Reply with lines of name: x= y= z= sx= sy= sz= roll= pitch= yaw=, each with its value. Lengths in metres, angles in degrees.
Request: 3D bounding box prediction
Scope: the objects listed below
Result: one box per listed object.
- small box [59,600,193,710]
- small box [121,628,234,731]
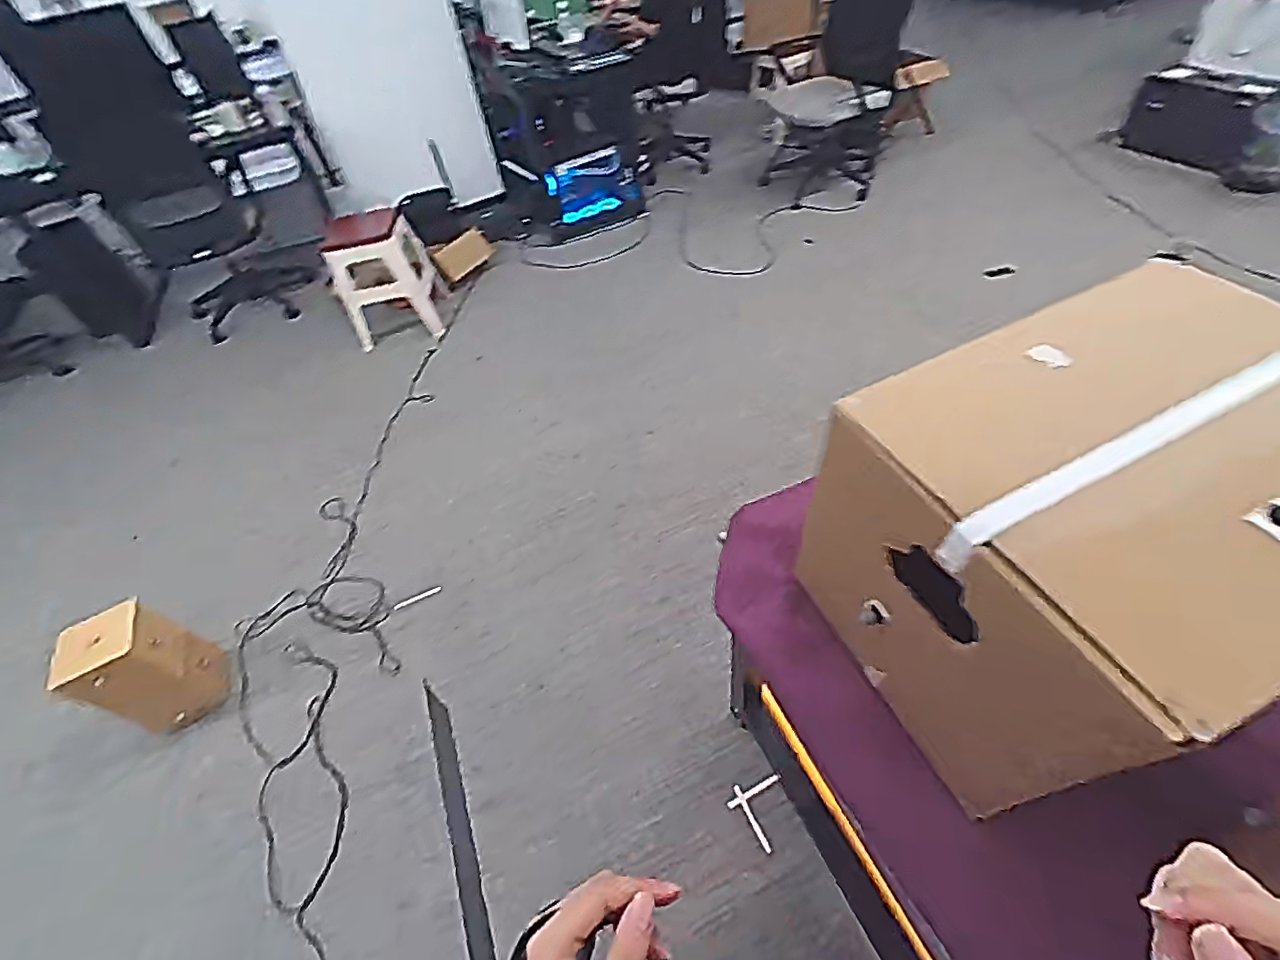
small box: x=-1.264 y=0.439 z=1.347 sx=0.179 sy=0.176 sz=0.168 roll=-28 pitch=51 yaw=-12
small box: x=-1.245 y=0.545 z=1.468 sx=0.168 sy=0.176 sz=0.179 roll=-29 pitch=52 yaw=-14
